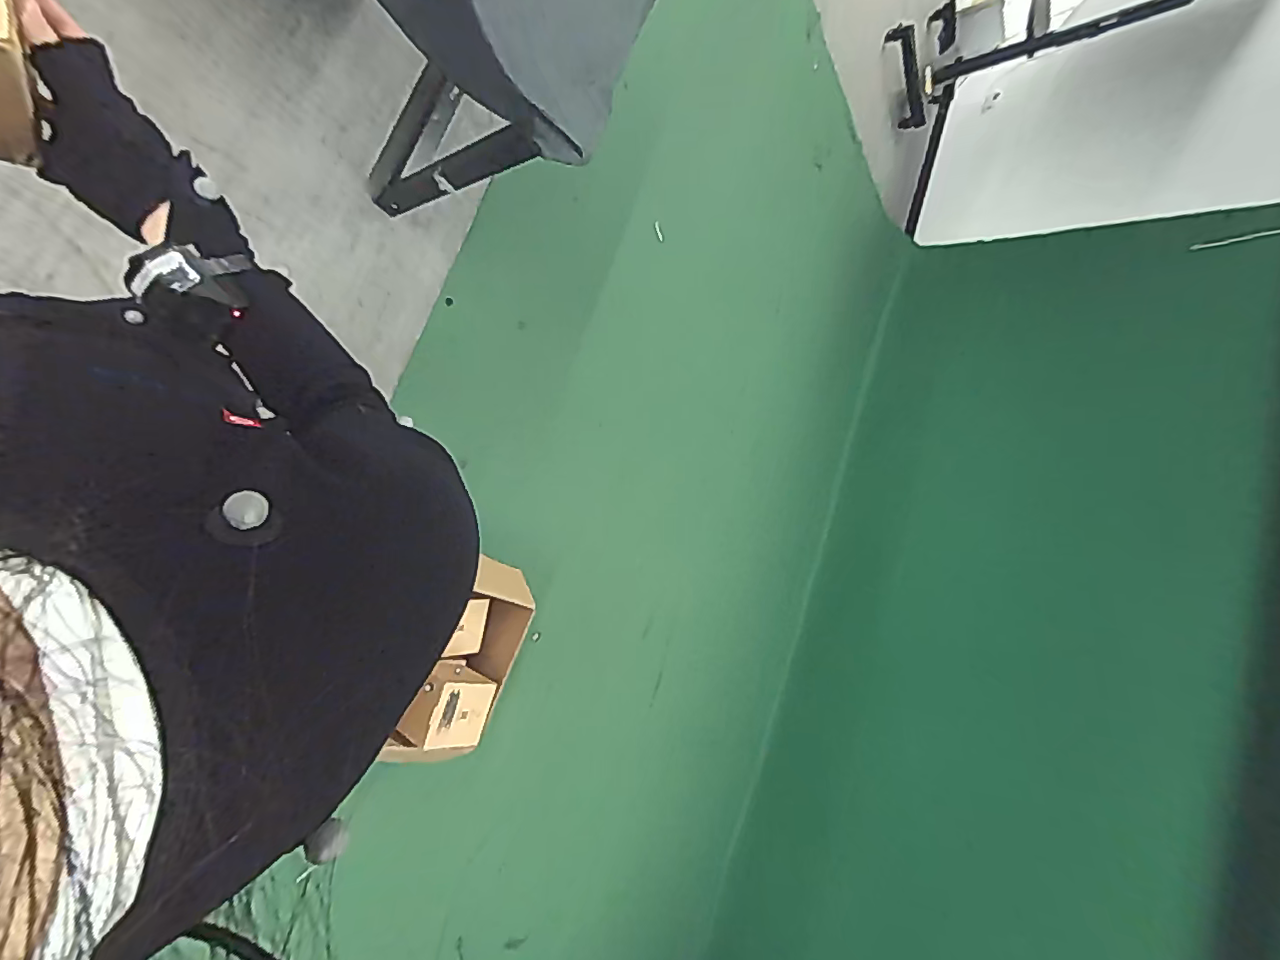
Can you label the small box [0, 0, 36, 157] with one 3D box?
[{"bbox_3d":[-0.476,-0.326,0.304,0.168,0.176,0.179,-6,97,-44],"label":"small box"}]
